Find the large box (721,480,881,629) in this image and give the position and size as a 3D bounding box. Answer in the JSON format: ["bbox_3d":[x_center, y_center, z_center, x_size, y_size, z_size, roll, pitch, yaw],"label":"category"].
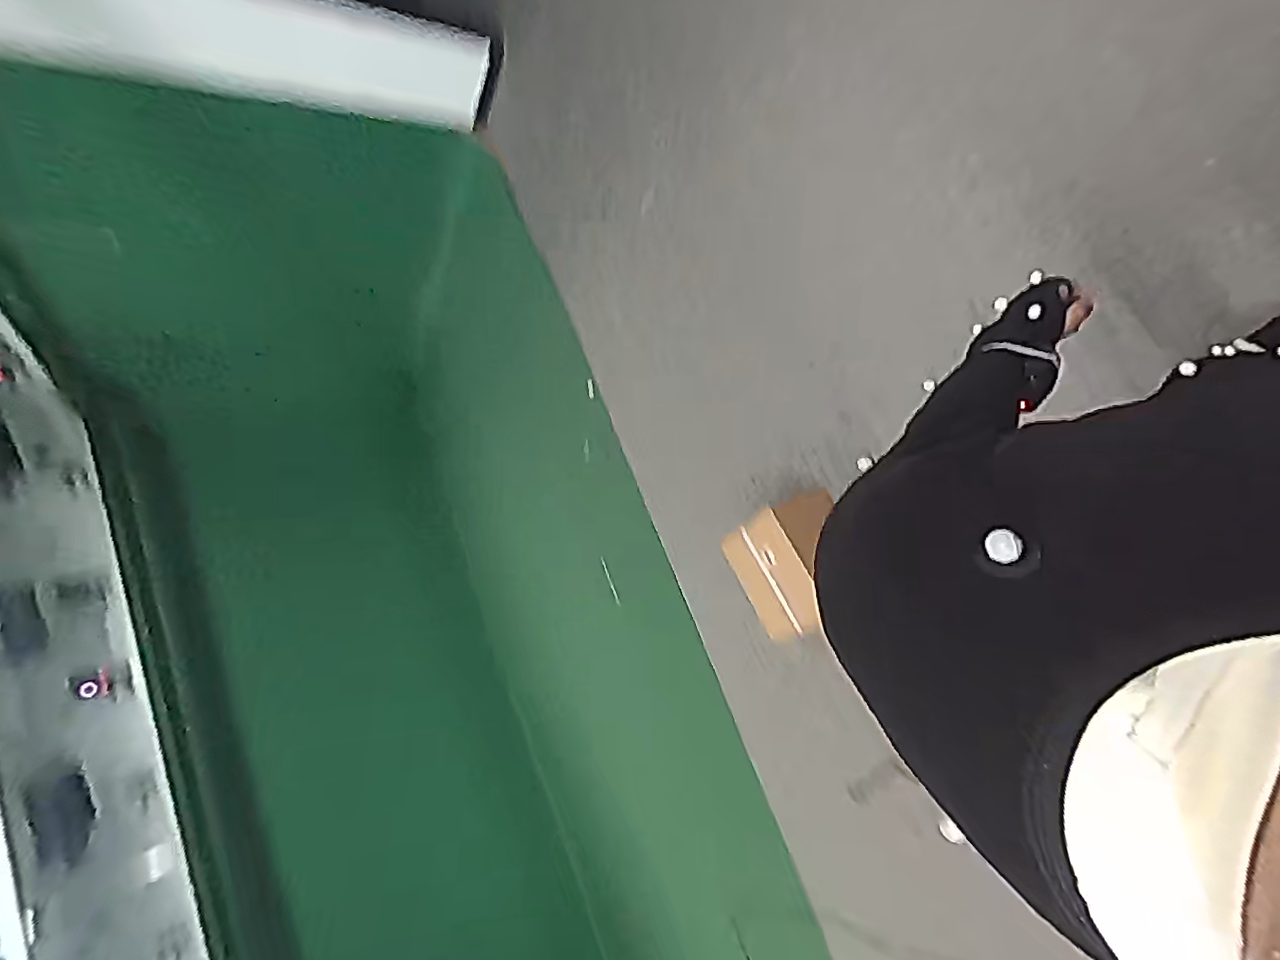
[{"bbox_3d":[0.573,0.264,1.951,0.320,0.320,0.408,-46,64,50],"label":"large box"}]
